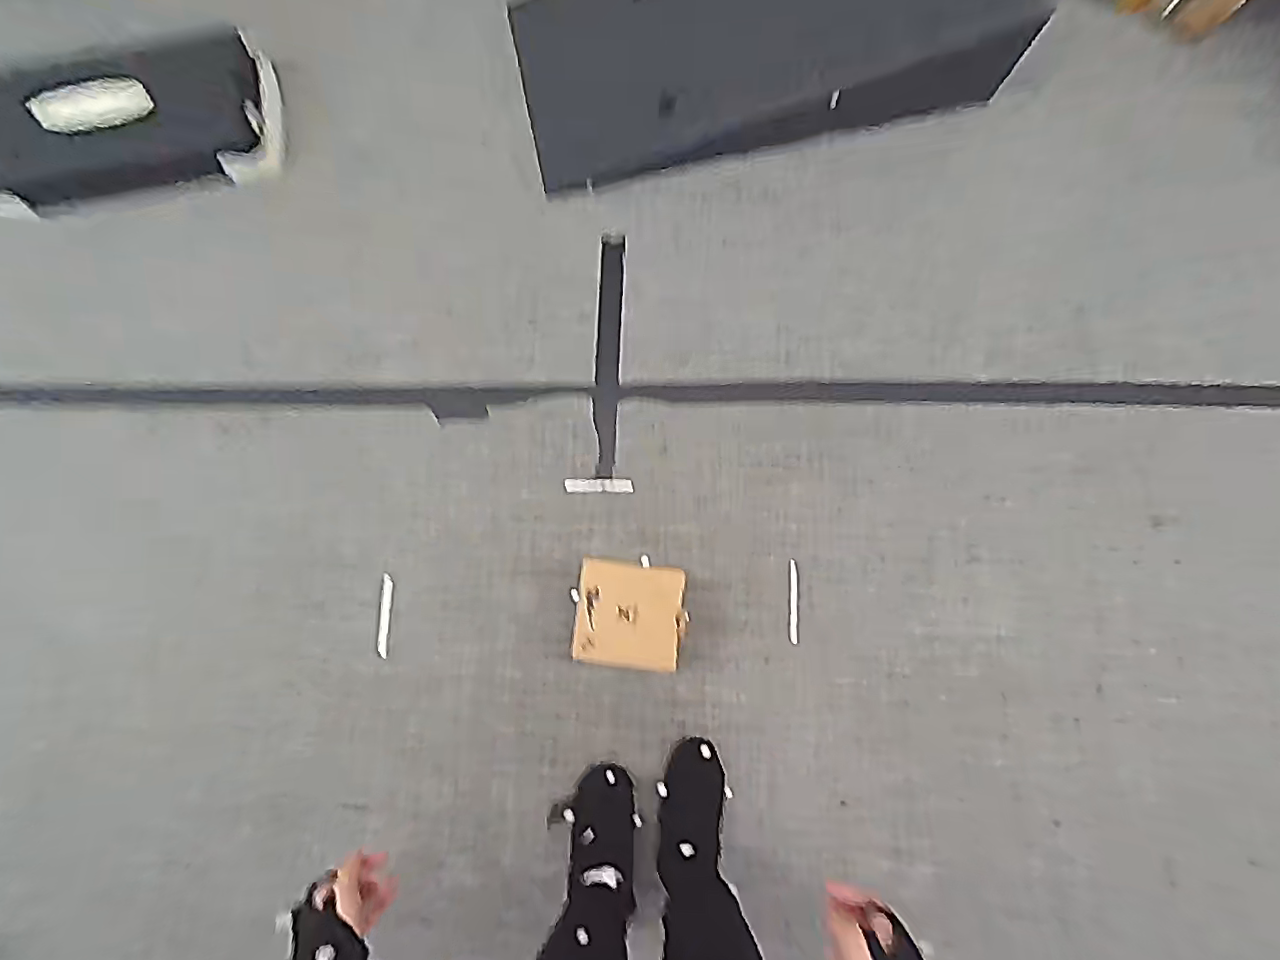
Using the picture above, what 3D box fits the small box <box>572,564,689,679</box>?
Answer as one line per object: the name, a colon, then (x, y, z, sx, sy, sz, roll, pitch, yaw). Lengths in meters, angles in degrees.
small box: (-0.014, 0.243, 0.970, 0.179, 0.176, 0.168, 7, 82, 2)
